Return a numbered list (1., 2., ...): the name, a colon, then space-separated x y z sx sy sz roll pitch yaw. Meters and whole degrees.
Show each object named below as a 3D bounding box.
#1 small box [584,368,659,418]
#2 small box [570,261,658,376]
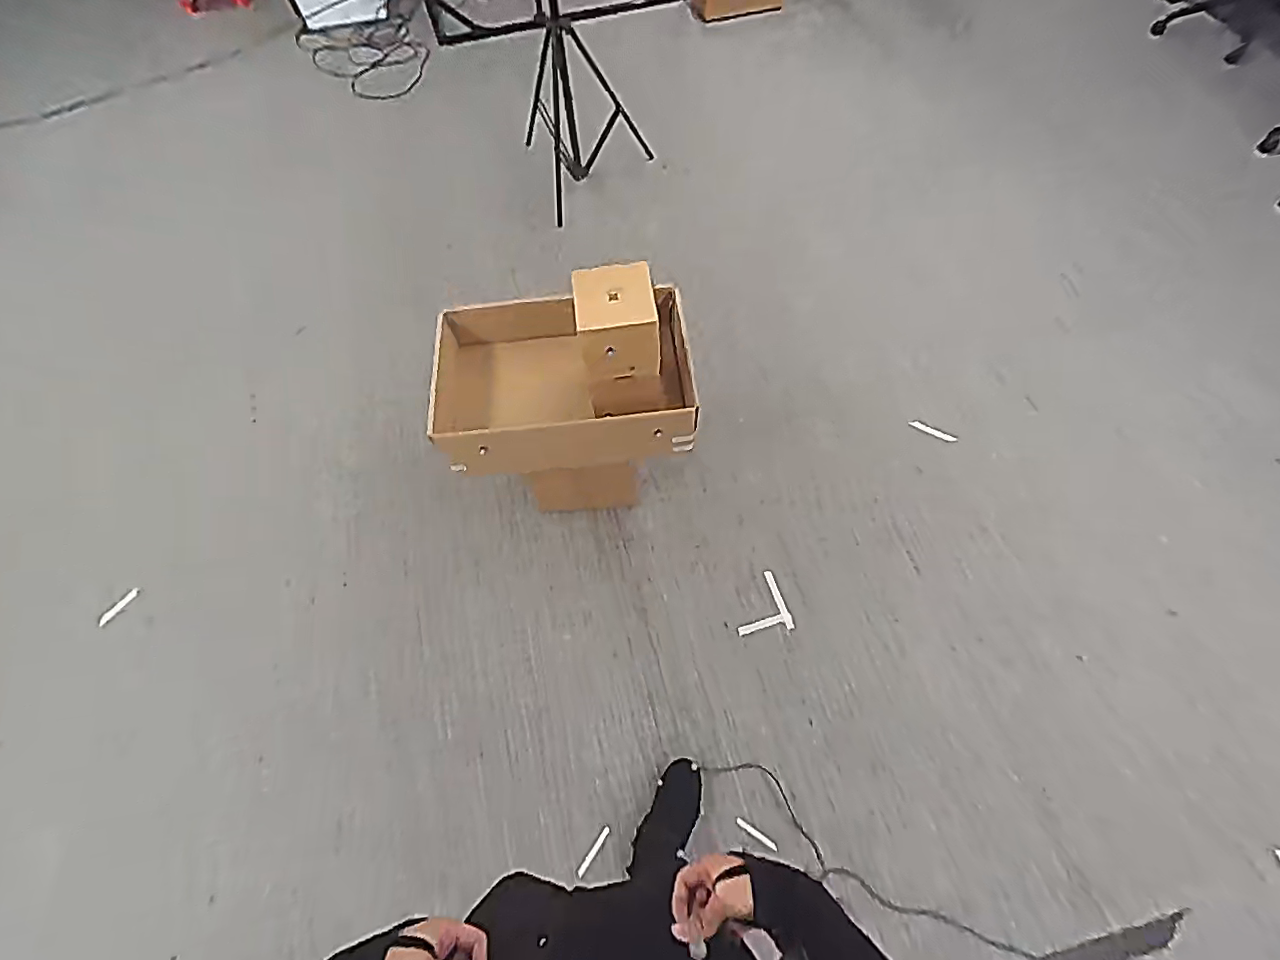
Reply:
1. small box: -0.047 -0.267 1.322 0.168 0.176 0.179 -9 62 -1
2. small box: -0.054 -0.342 1.178 0.168 0.176 0.179 -8 62 -1
